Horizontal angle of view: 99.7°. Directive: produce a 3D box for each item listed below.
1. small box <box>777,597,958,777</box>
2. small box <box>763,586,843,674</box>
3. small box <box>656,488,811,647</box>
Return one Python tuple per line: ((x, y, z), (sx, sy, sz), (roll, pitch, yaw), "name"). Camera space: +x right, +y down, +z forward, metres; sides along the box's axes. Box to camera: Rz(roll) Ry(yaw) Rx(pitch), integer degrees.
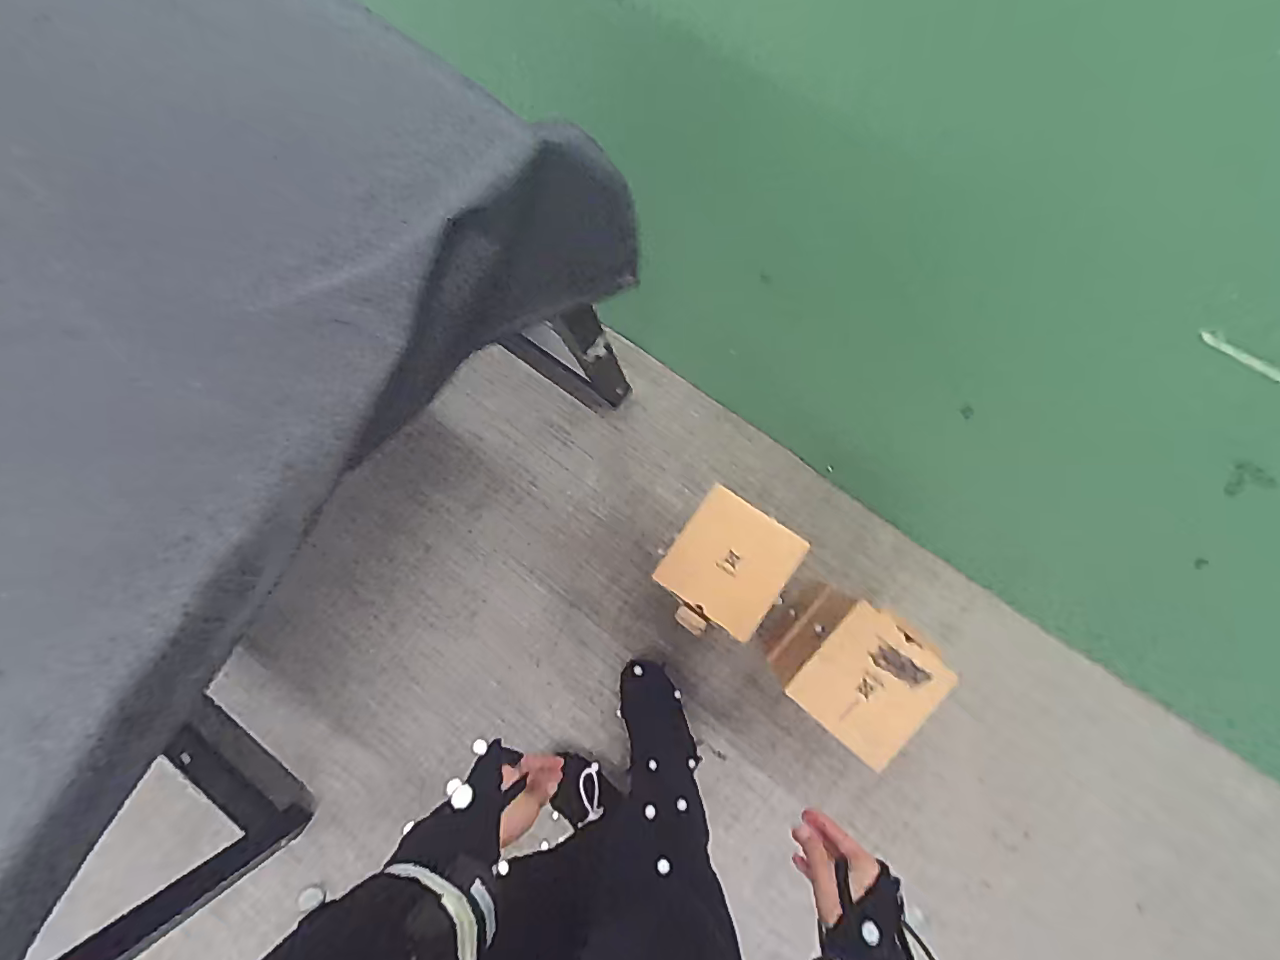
((0.329, 0.297, 0.826), (0.168, 0.176, 0.179), (41, 89, 10), "small box")
((0.342, 0.313, 0.990), (0.168, 0.176, 0.179), (40, 90, 10), "small box")
((0.142, 0.135, 0.866), (0.168, 0.176, 0.179), (34, 87, 9), "small box")
